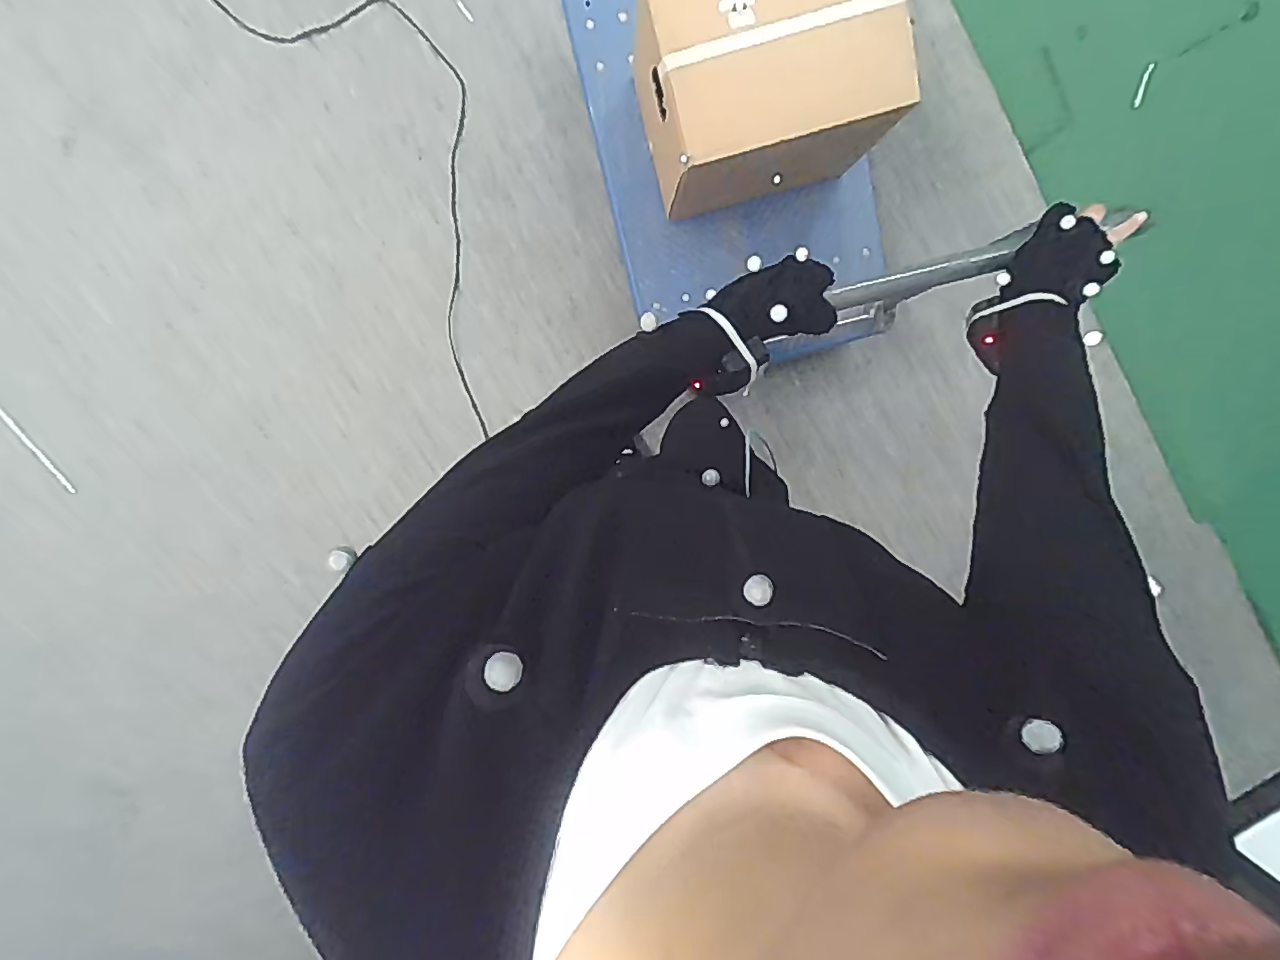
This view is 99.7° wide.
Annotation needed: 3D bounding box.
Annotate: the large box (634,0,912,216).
[{"bbox_3d":[0.223,-0.752,1.026,0.408,0.320,0.320,-16,100,1],"label":"large box"}]
